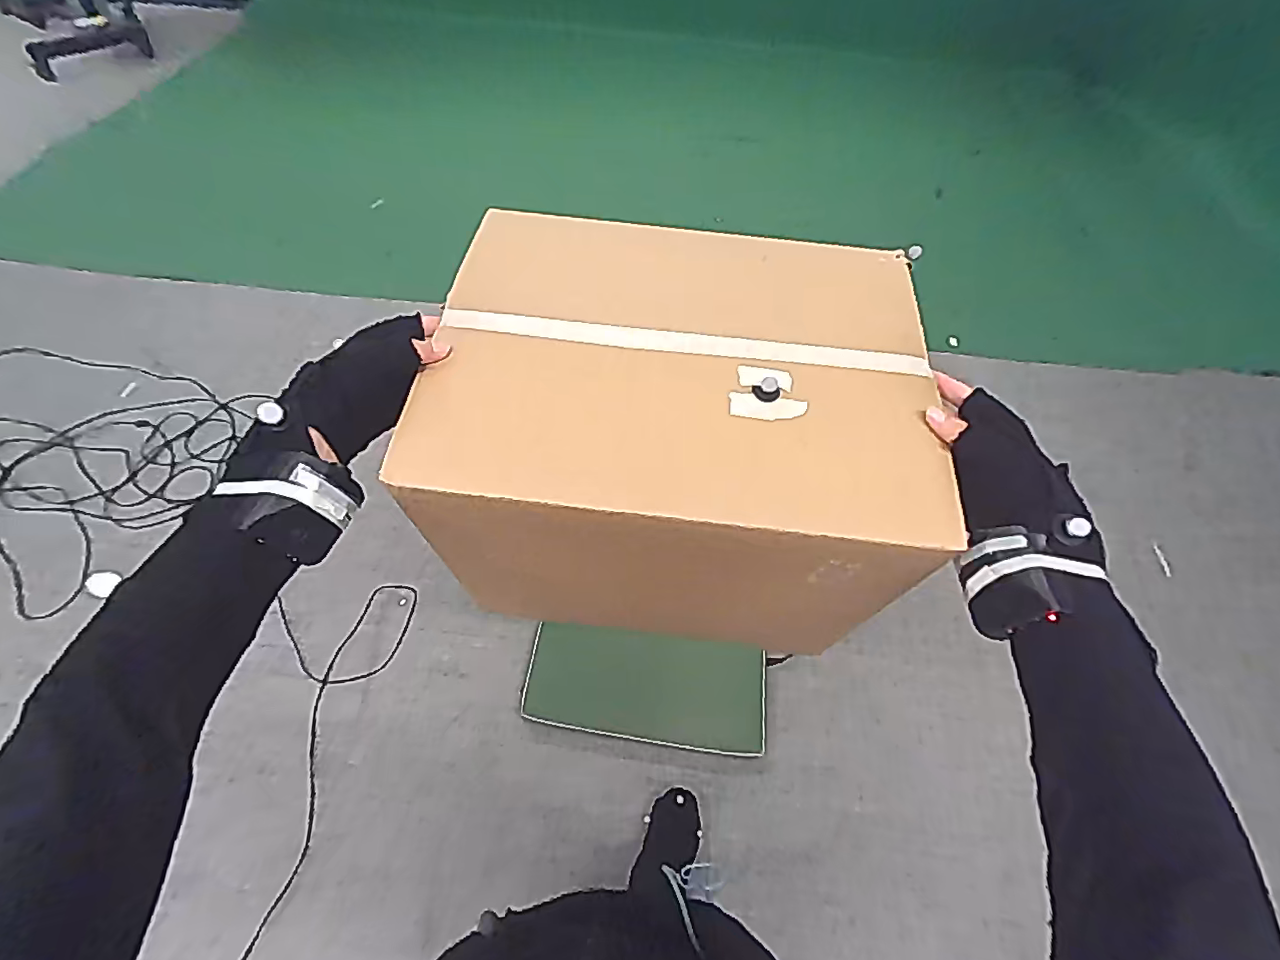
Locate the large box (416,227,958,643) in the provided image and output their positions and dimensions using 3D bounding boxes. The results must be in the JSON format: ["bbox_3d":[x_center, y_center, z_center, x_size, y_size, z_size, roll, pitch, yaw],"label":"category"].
[{"bbox_3d":[0.038,-0.029,0.591,0.408,0.320,0.320,7,60,1],"label":"large box"}]
